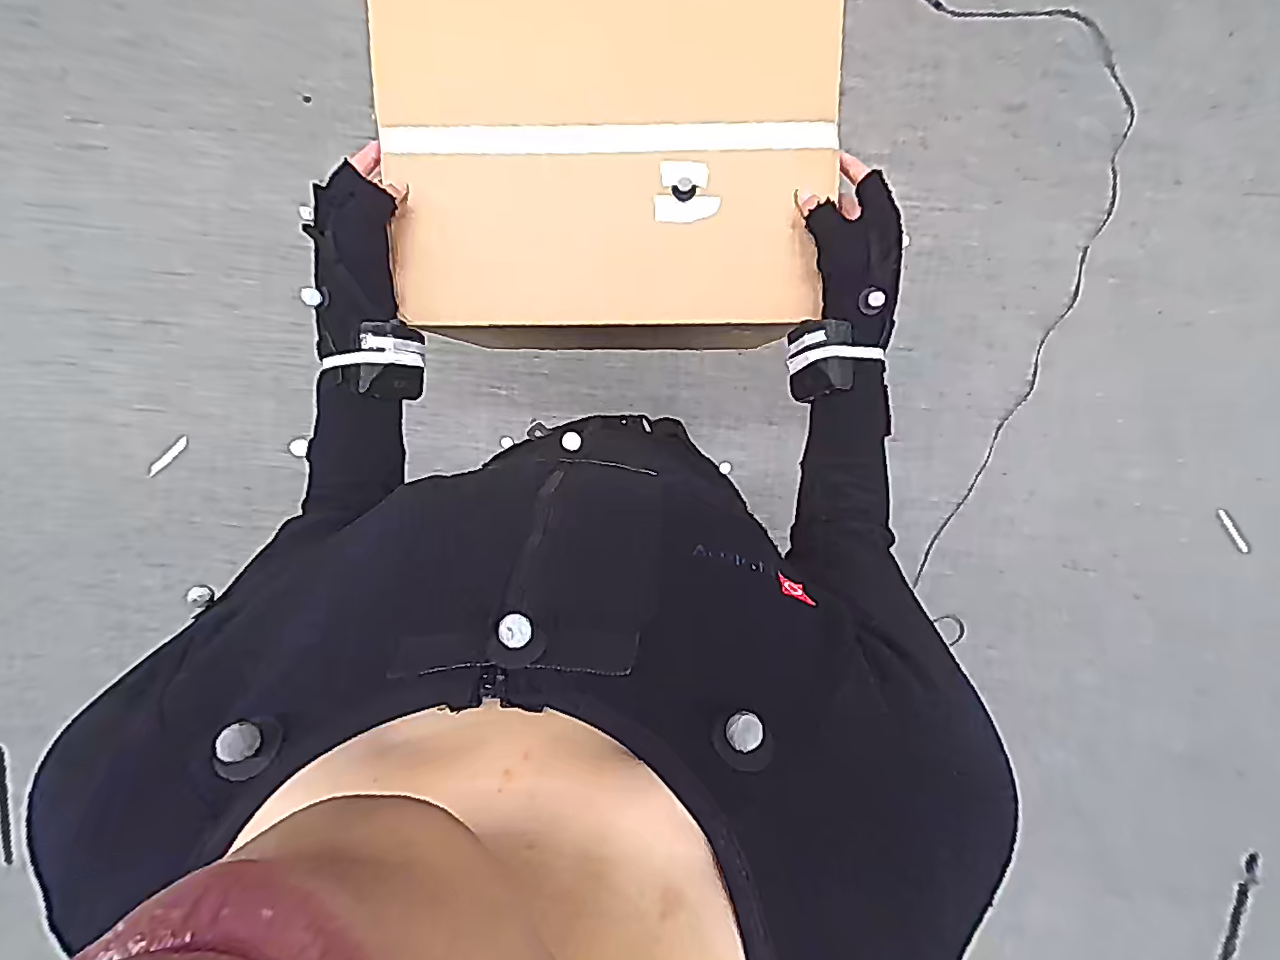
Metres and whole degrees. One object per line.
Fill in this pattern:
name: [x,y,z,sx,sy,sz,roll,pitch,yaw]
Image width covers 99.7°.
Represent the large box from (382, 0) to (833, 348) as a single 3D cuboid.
large box: [-0.029,-0.332,0.638,0.408,0.320,0.320,0,99,0]
